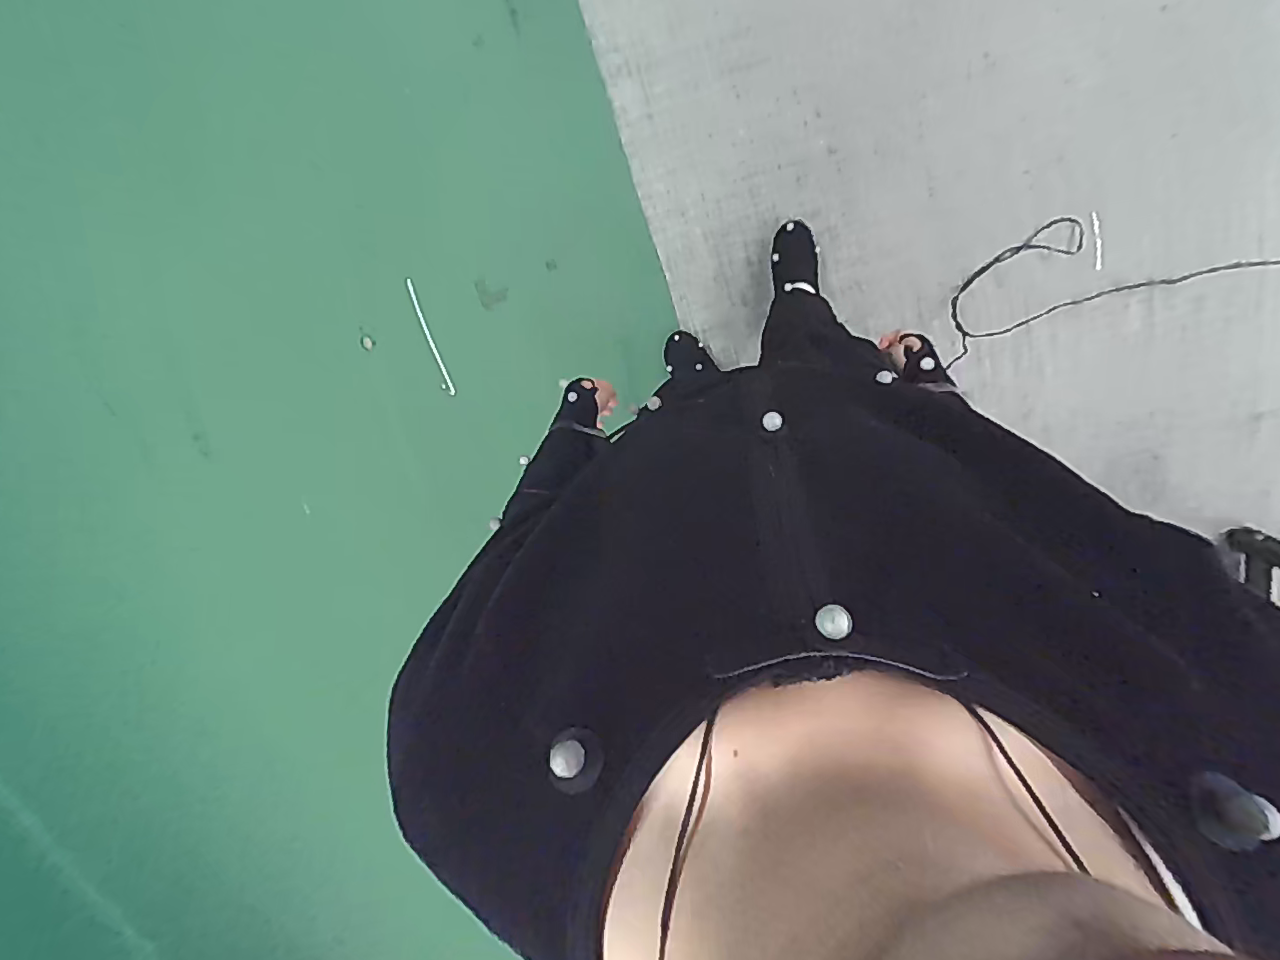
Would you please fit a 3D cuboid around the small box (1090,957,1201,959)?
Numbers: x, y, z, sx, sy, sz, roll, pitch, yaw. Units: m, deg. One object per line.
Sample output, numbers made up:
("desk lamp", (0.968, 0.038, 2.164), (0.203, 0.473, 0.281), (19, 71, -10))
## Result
("small box", (0.685, 0.747, 0.673), (0.168, 0.176, 0.179), (-8, 106, 7))
